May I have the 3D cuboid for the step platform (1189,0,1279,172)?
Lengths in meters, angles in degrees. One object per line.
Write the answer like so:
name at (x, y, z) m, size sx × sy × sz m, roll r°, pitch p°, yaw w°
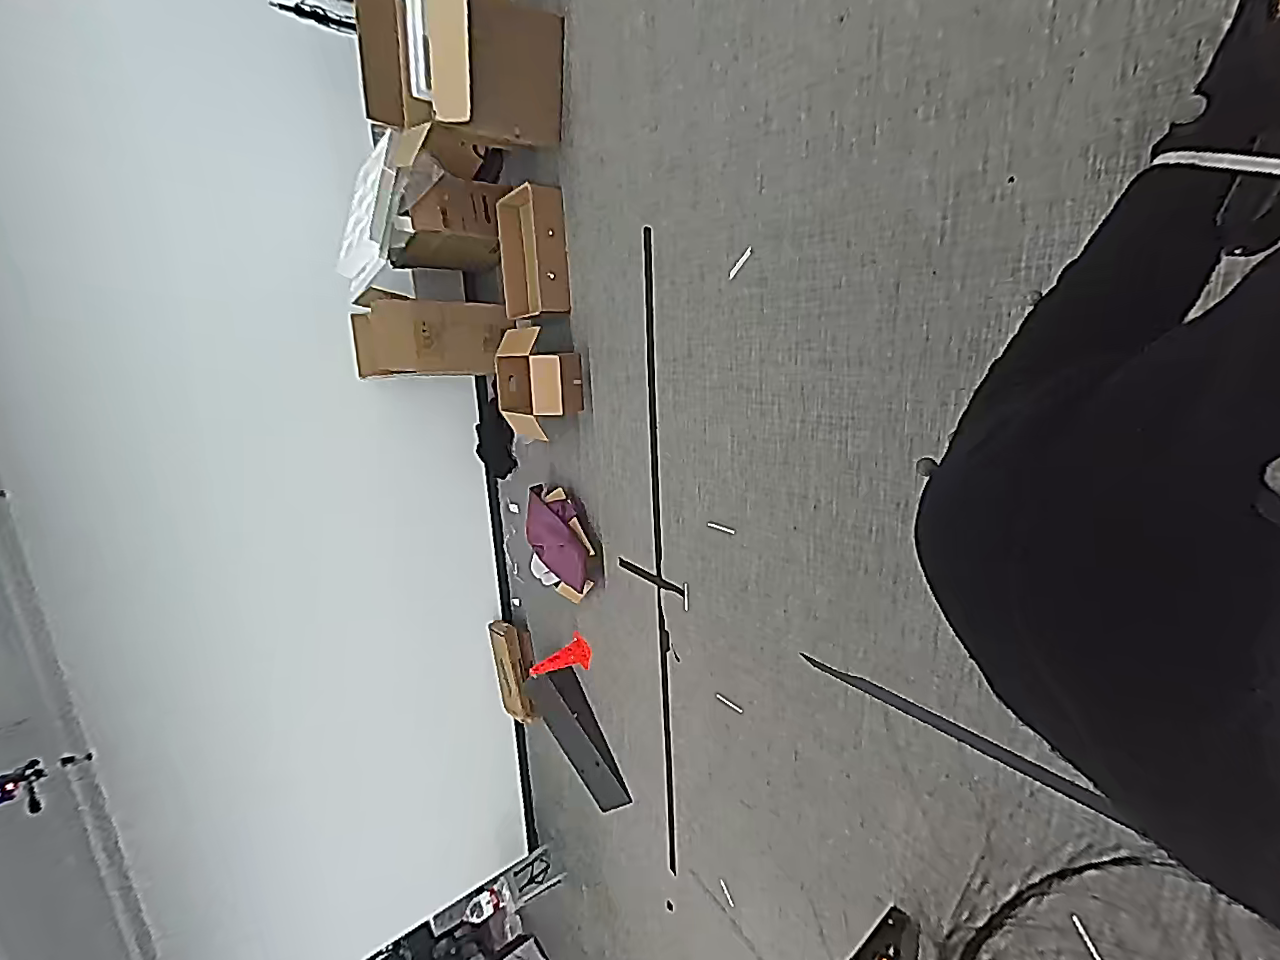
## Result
step platform at (1.035, -0.553, 0.526) m, size 0.684 × 0.204 × 0.286 m, roll 13°, pitch 110°, yaw 51°
